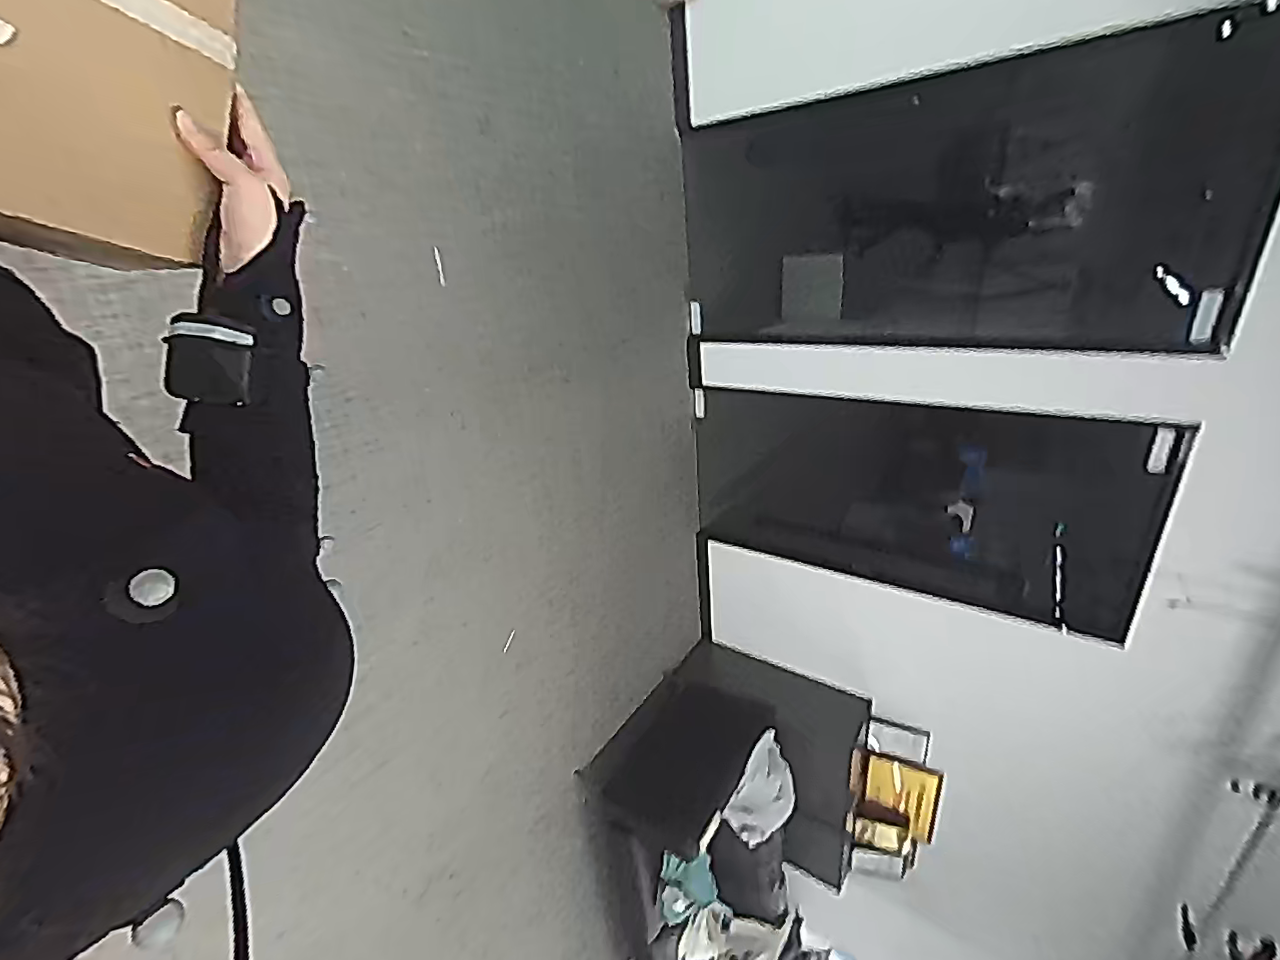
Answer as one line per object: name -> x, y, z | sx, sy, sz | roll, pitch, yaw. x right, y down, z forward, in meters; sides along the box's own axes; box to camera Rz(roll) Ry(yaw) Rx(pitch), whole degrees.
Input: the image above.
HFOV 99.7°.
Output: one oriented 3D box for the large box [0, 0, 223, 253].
large box -> -0.548, -0.362, 0.328 | 0.408, 0.320, 0.320 | 1, 103, -54
